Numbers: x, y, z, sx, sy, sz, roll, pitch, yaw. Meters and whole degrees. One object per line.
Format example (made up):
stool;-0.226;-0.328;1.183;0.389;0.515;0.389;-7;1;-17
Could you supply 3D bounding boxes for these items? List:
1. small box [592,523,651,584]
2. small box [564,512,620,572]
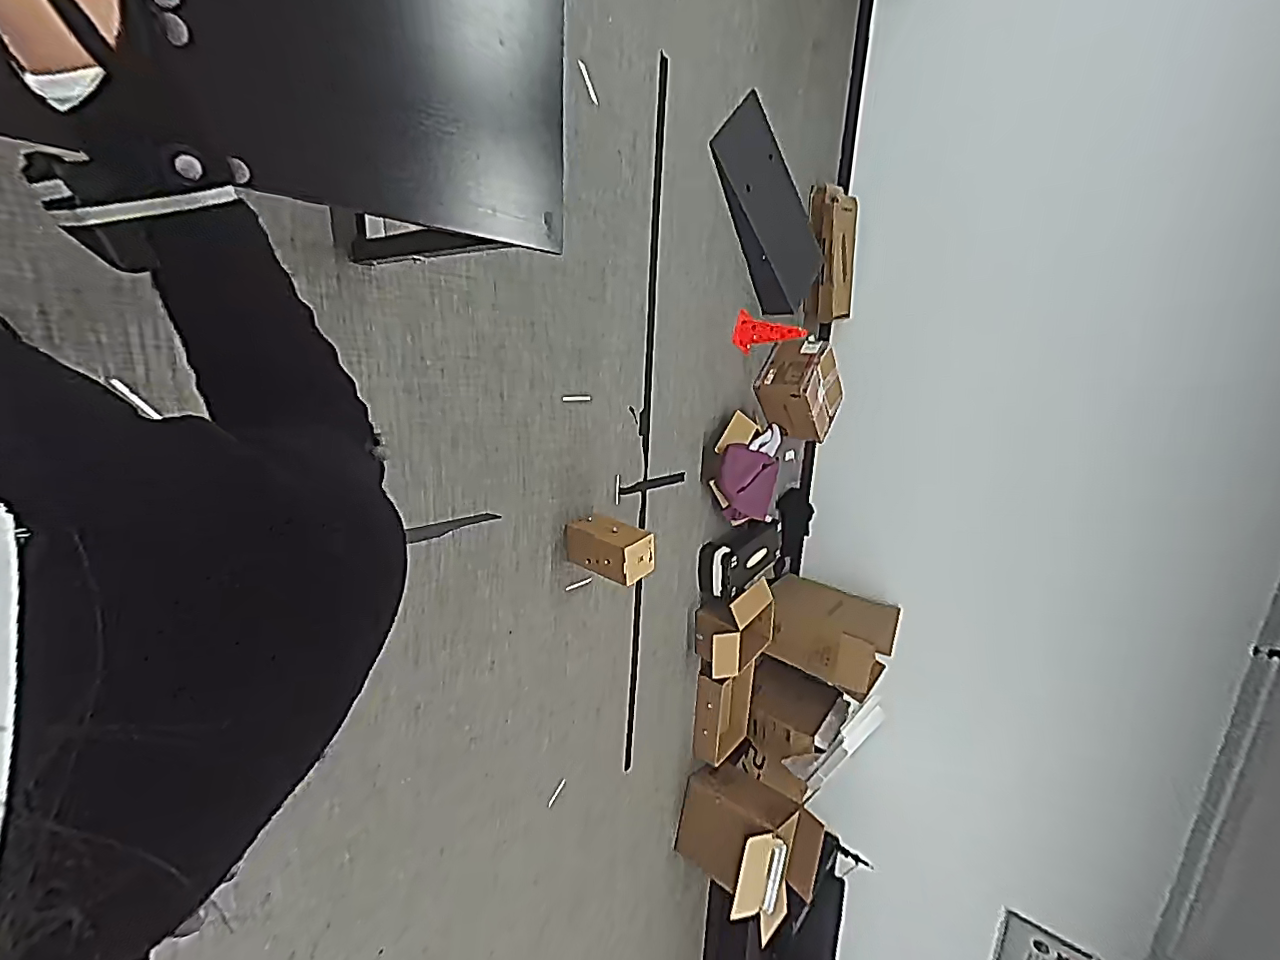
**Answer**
small box;-0.076;0.283;2.125;0.179;0.176;0.168;-23;118;-46
small box;-0.198;0.252;2.230;0.168;0.176;0.179;-22;118;-47
